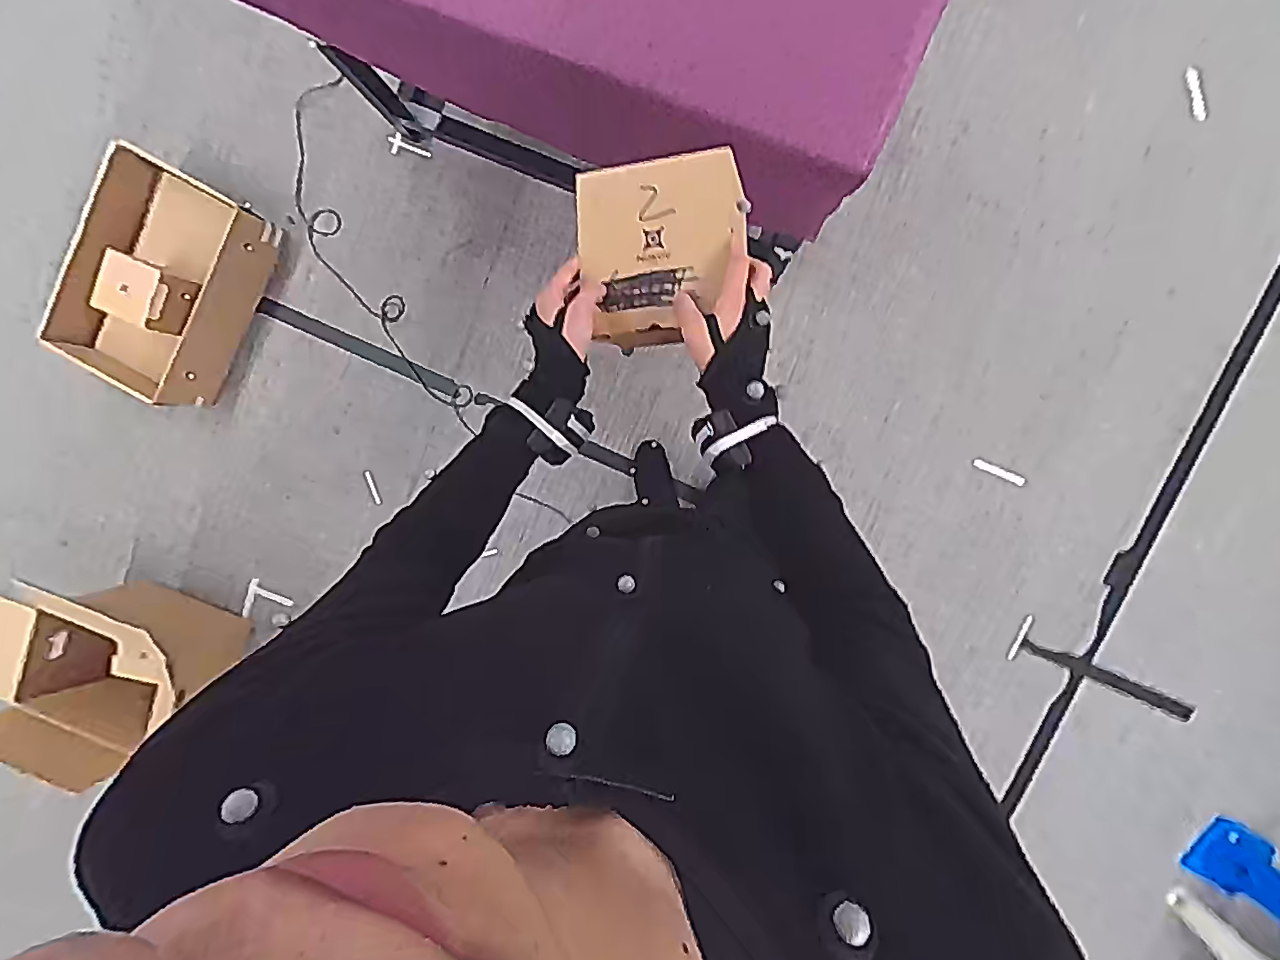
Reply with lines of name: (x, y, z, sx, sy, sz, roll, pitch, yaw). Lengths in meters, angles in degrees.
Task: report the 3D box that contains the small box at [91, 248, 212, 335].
small box: (-1.386, -0.529, 1.546, 0.179, 0.176, 0.168, 24, 95, 2)
